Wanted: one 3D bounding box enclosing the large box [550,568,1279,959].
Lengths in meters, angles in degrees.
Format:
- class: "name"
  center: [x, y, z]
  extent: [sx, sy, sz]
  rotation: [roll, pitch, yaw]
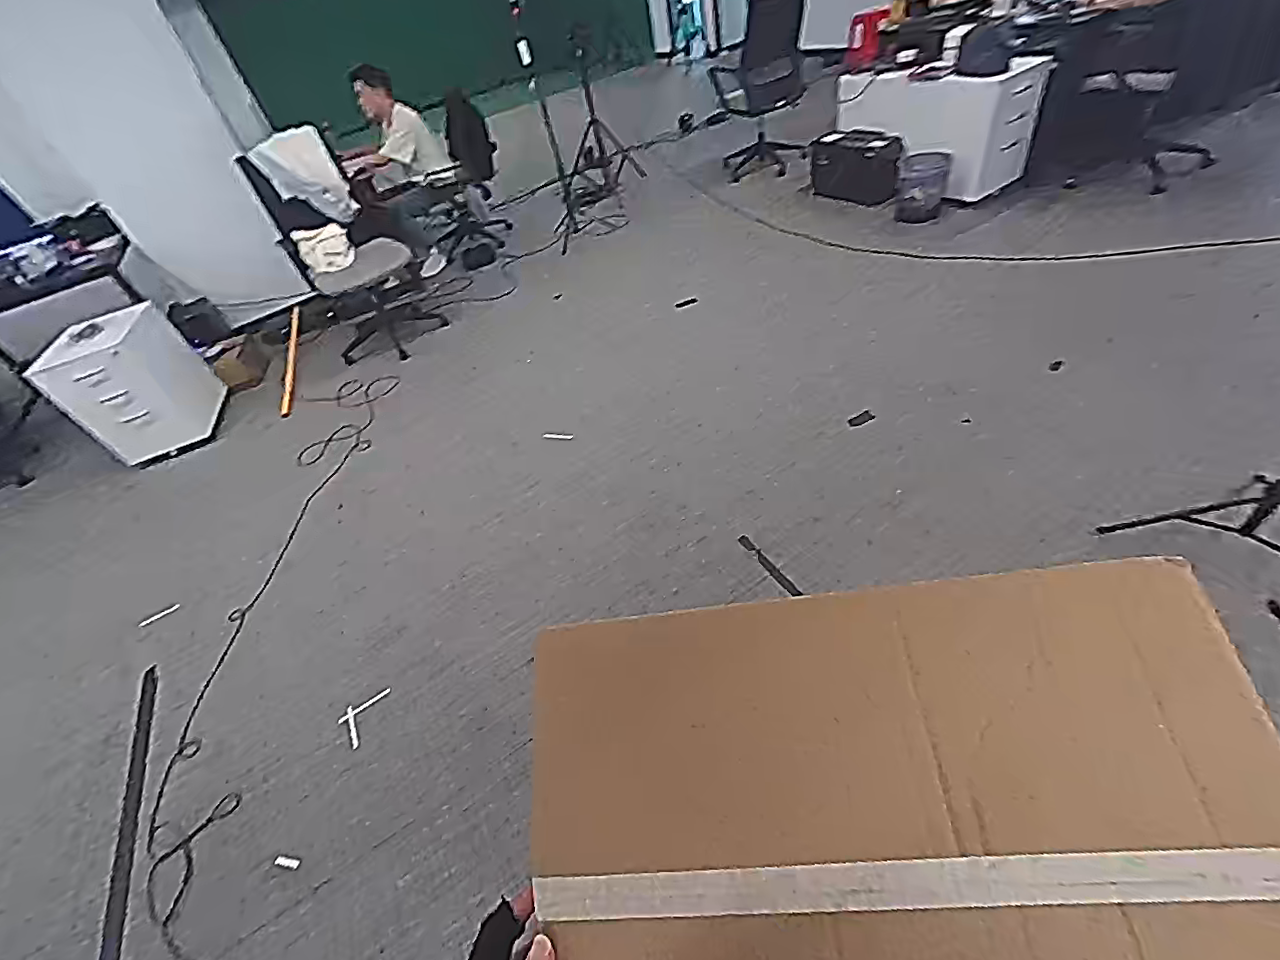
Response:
- class: "large box"
  center: [0.170, 0.284, 0.432]
  extent: [0.408, 0.320, 0.320]
  rotation: [-9, 66, 9]
